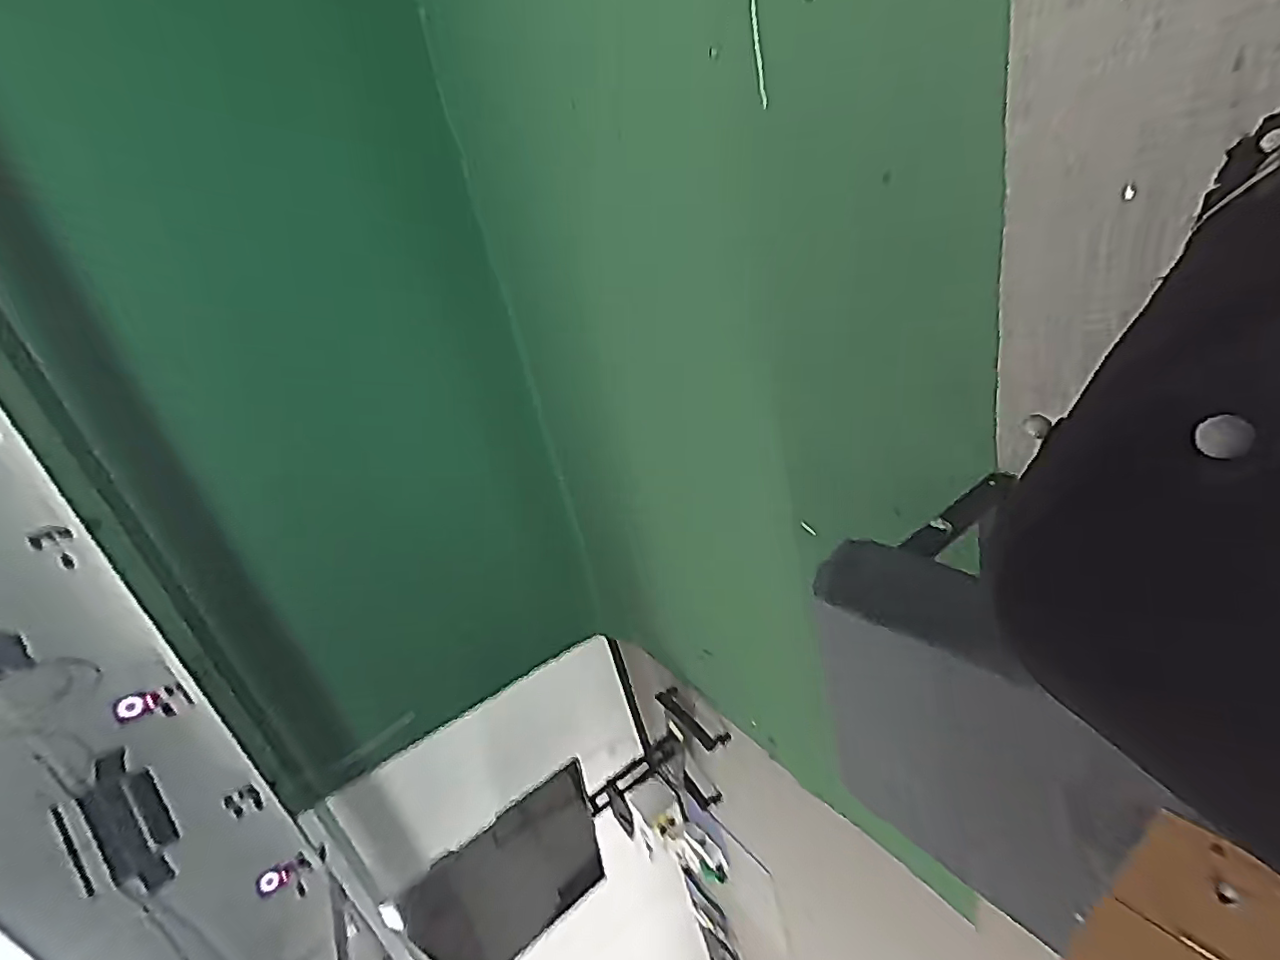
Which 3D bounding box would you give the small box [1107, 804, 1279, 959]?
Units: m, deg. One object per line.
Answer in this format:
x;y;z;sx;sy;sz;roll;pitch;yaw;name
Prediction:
0.714;0.561;0.677;0.168;0.176;0.179;19;130;55;small box
